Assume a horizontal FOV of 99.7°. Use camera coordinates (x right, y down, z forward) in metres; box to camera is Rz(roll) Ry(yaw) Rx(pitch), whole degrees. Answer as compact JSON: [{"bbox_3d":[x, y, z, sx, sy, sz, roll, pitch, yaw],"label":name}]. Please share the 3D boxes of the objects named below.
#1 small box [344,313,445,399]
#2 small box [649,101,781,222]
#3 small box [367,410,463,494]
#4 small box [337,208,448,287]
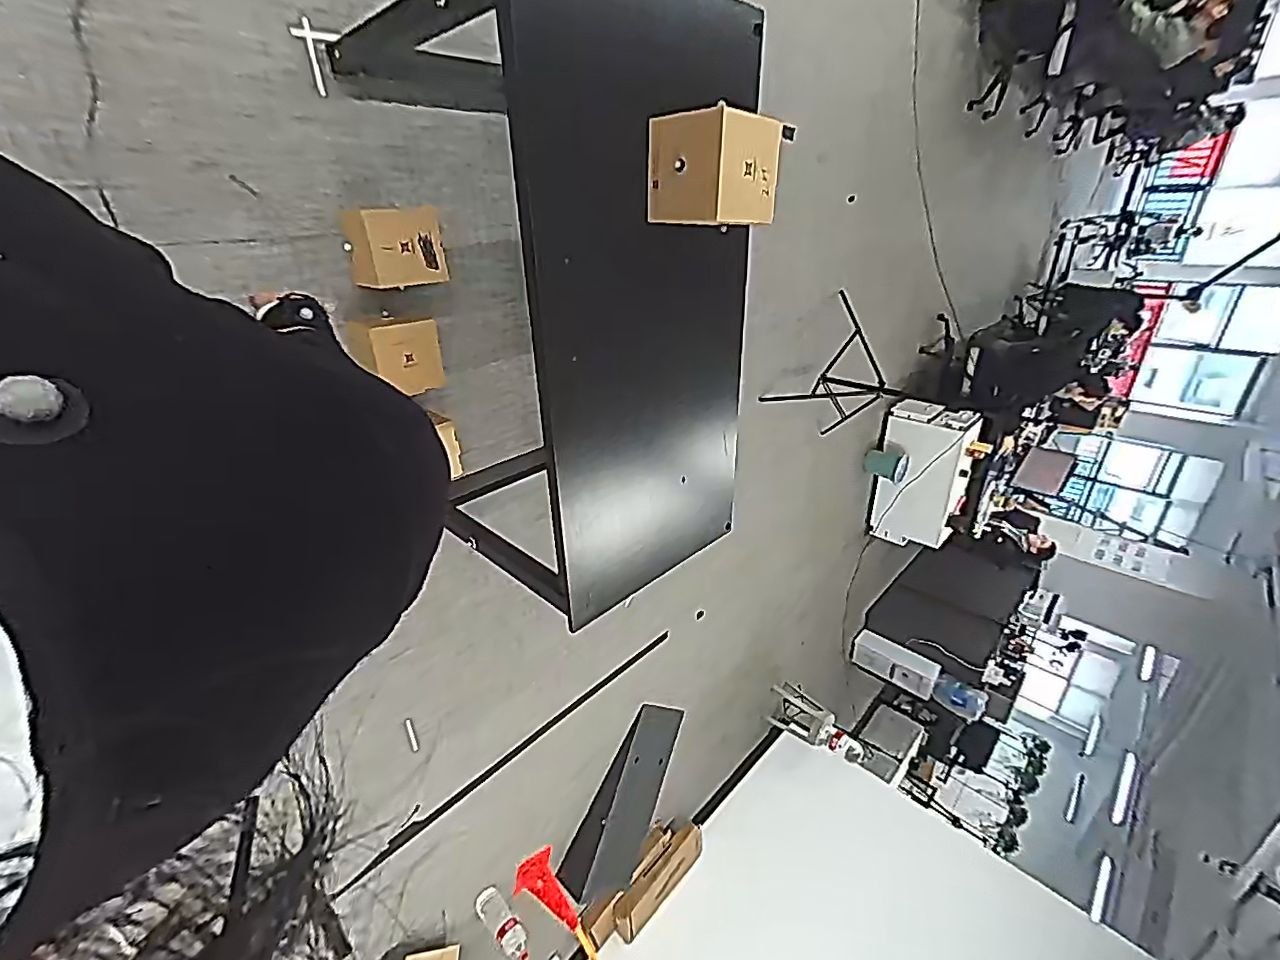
[{"bbox_3d":[-0.630,-0.324,1.391,0.168,0.176,0.179,-26,125,-39],"label":"small box"},{"bbox_3d":[0.131,-0.565,0.984,0.179,0.176,0.168,-22,123,-41],"label":"small box"},{"bbox_3d":[-0.624,-0.086,1.502,0.179,0.176,0.168,-26,125,-39],"label":"small box"},{"bbox_3d":[-0.598,-0.568,1.312,0.179,0.176,0.168,-25,124,-38],"label":"small box"}]
